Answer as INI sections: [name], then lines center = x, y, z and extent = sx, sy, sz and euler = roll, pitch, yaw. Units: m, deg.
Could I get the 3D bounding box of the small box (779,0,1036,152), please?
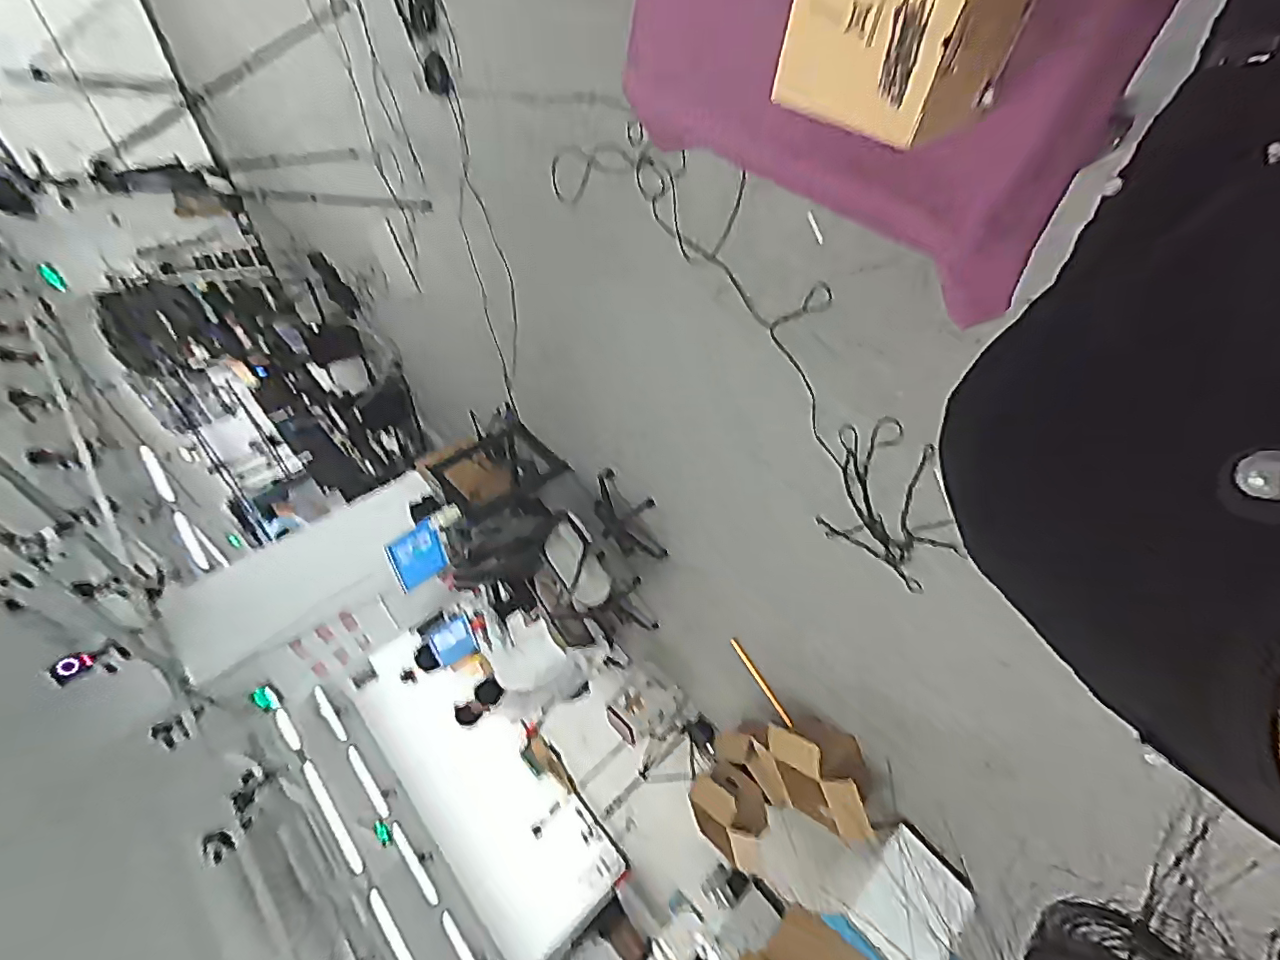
[small box]
center = 0.282, -0.472, 0.561
extent = 0.179, 0.176, 0.168
euler = 41, 147, 27
